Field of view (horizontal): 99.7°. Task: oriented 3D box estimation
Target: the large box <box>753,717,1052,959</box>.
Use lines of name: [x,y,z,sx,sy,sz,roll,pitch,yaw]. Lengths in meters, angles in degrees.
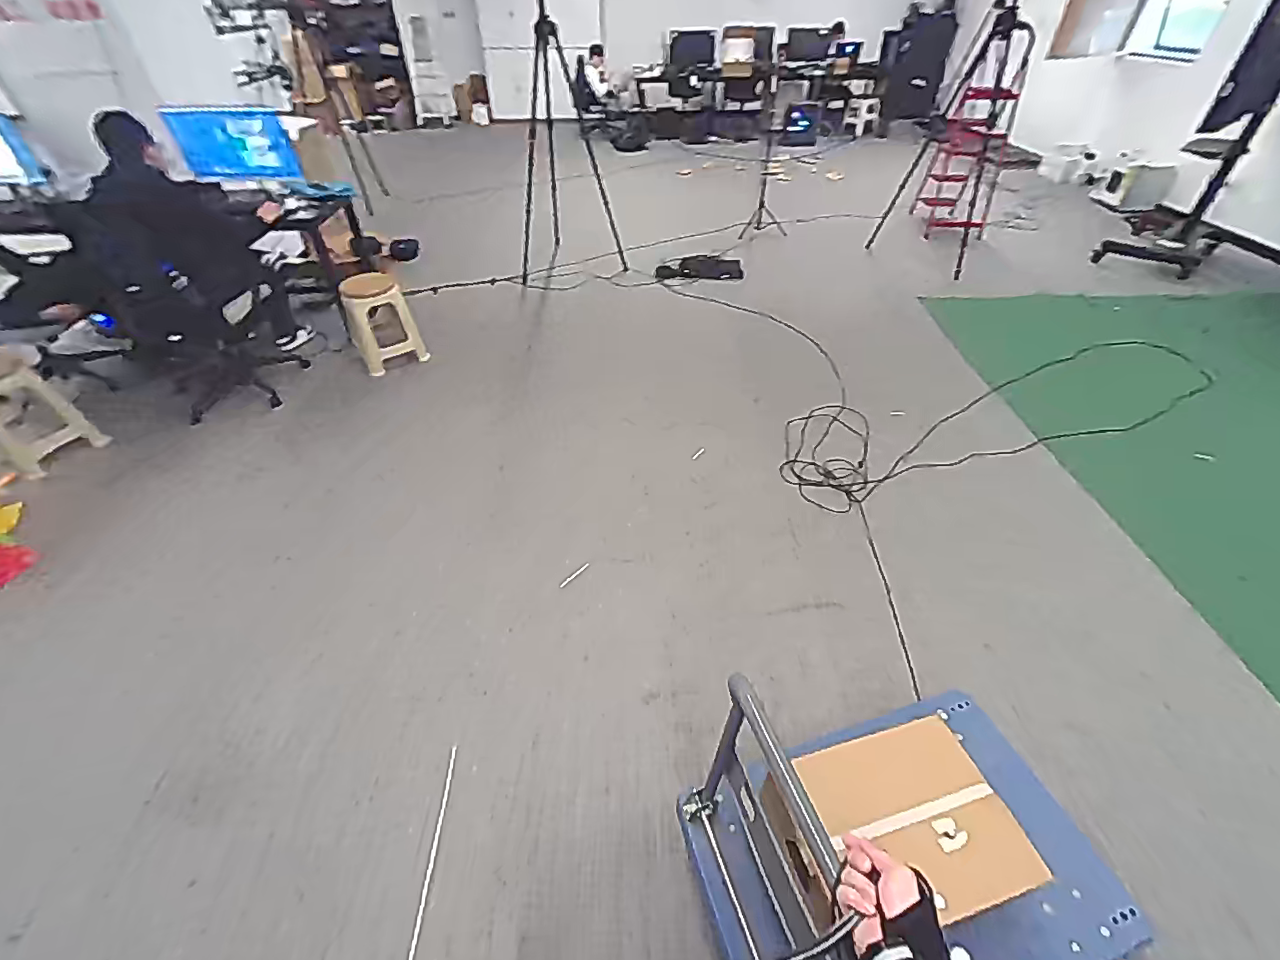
large box: [0.496,0.756,1.113,0.408,0.320,0.320,-10,43,-12]
